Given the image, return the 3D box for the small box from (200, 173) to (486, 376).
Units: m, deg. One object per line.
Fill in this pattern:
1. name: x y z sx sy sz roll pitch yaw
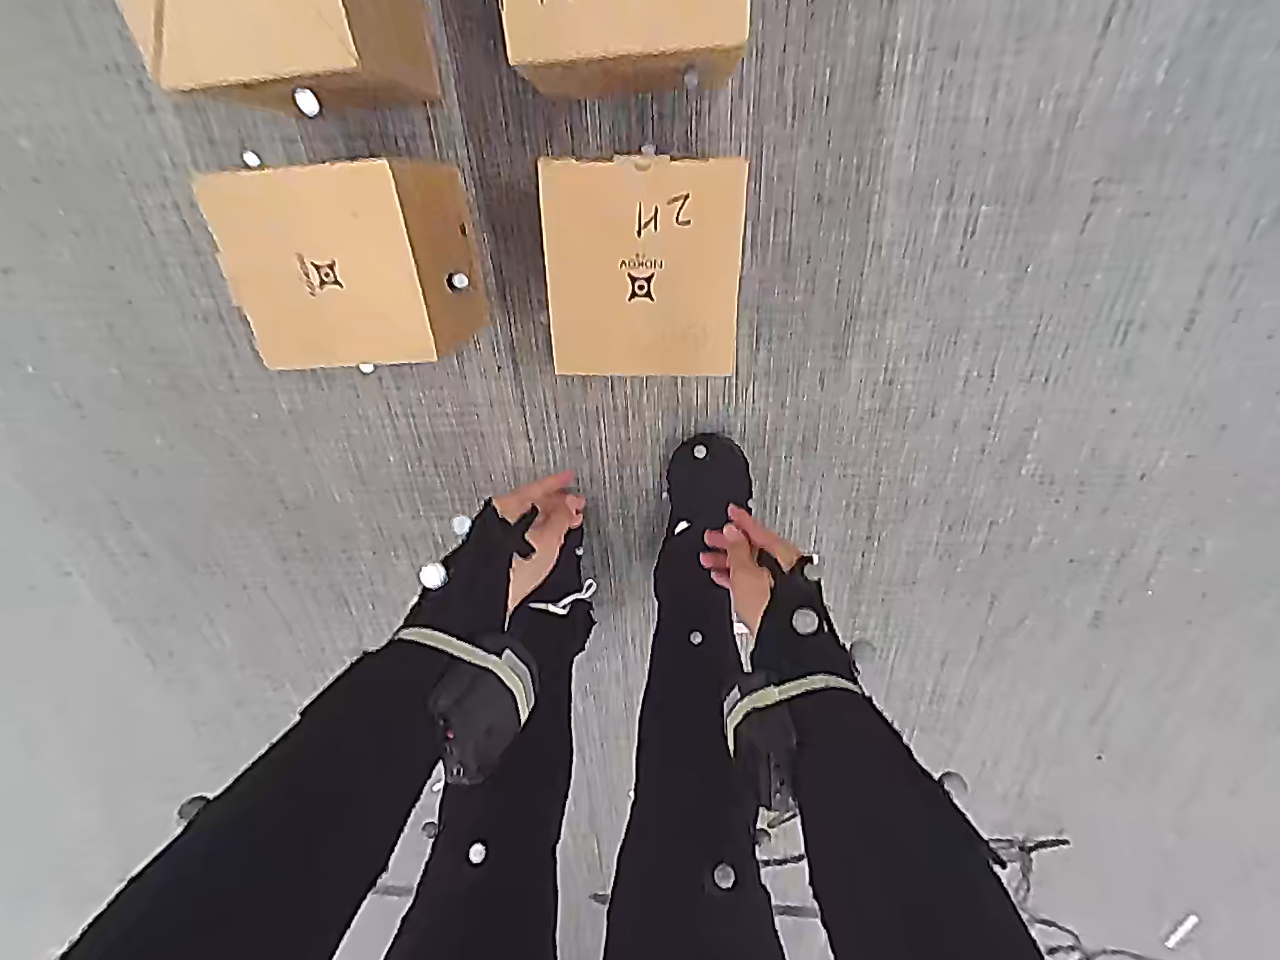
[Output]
1. small box: -0.270 -0.213 0.547 0.179 0.176 0.168 -1 118 5

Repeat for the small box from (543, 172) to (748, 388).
1. small box: 0.007 -0.203 0.534 0.168 0.176 0.179 1 119 2
